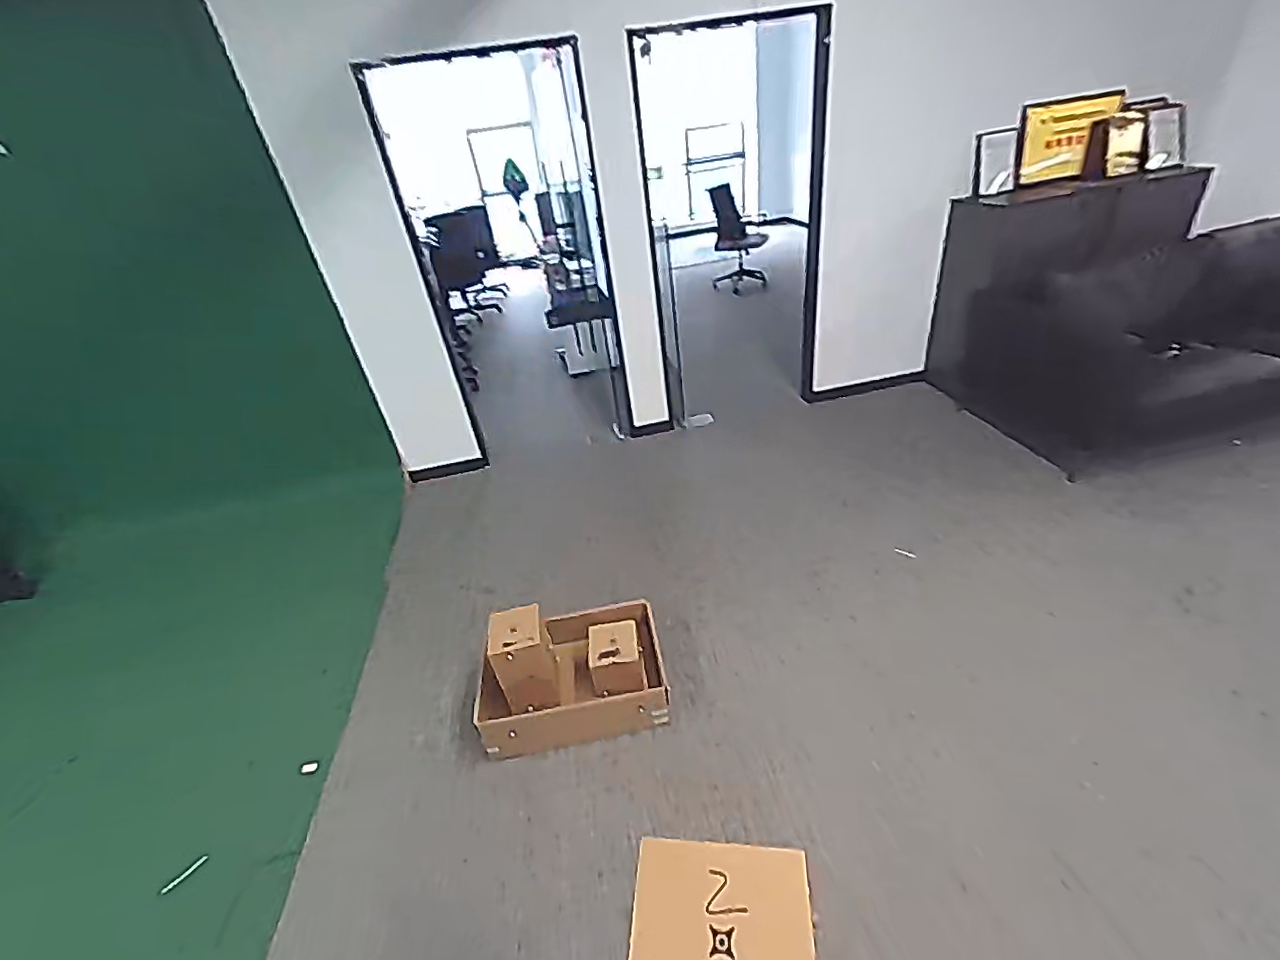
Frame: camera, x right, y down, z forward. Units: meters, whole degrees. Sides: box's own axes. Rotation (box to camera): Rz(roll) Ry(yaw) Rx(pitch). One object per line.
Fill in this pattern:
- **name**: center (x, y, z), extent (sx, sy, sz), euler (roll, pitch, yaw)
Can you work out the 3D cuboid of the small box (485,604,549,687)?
- **small box**: center (-0.398, 0.538, 1.764), extent (0.168, 0.176, 0.179), euler (-12, 33, -5)
